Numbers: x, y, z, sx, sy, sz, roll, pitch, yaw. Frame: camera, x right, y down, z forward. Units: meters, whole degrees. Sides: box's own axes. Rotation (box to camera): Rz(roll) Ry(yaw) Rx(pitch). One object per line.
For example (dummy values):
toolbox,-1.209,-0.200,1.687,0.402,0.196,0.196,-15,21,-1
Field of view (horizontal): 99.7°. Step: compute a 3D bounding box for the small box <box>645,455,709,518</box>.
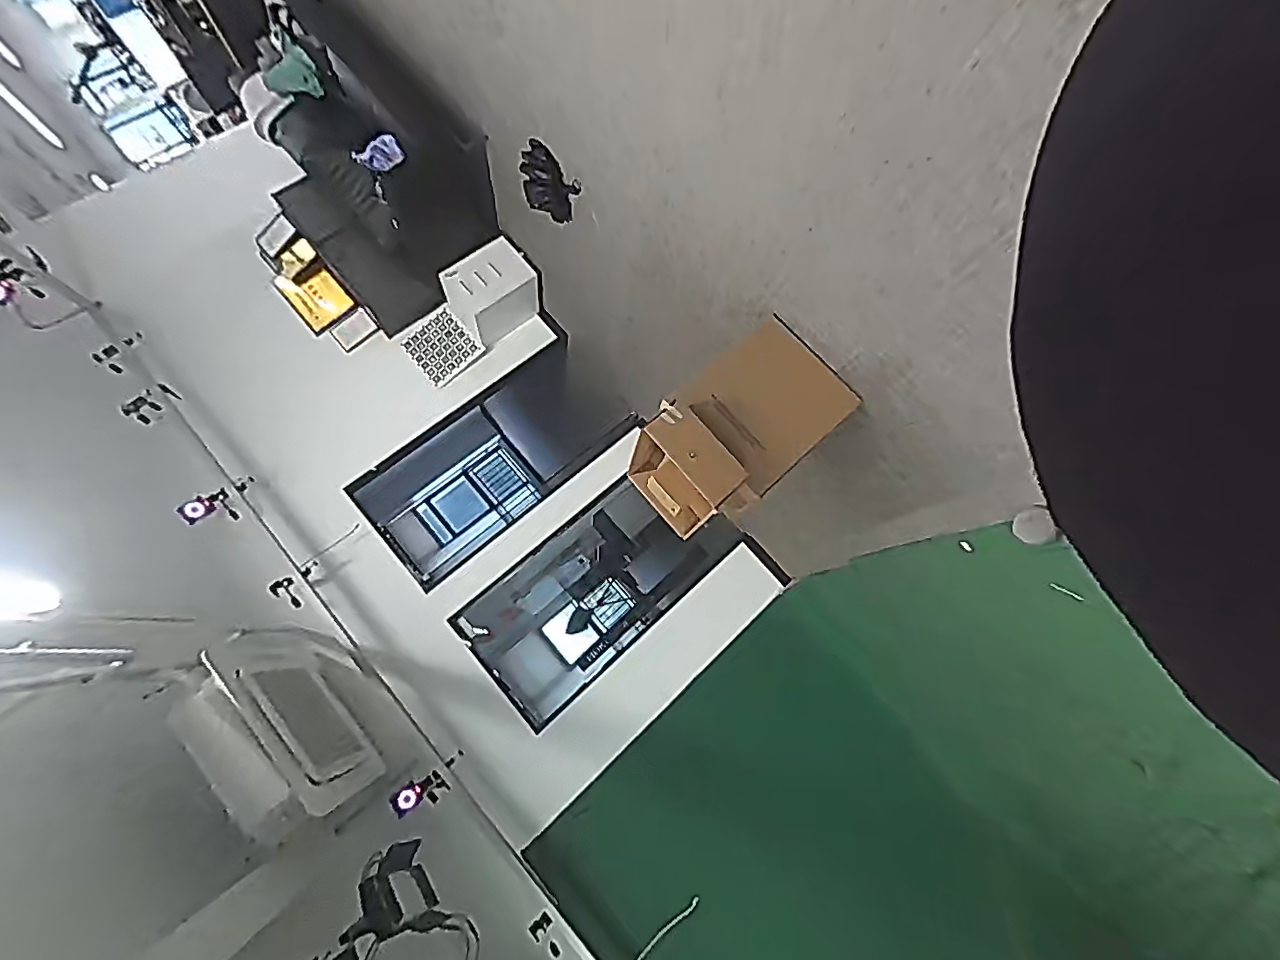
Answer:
small box,0.146,0.022,2.167,0.179,0.176,0.168,50,166,10
